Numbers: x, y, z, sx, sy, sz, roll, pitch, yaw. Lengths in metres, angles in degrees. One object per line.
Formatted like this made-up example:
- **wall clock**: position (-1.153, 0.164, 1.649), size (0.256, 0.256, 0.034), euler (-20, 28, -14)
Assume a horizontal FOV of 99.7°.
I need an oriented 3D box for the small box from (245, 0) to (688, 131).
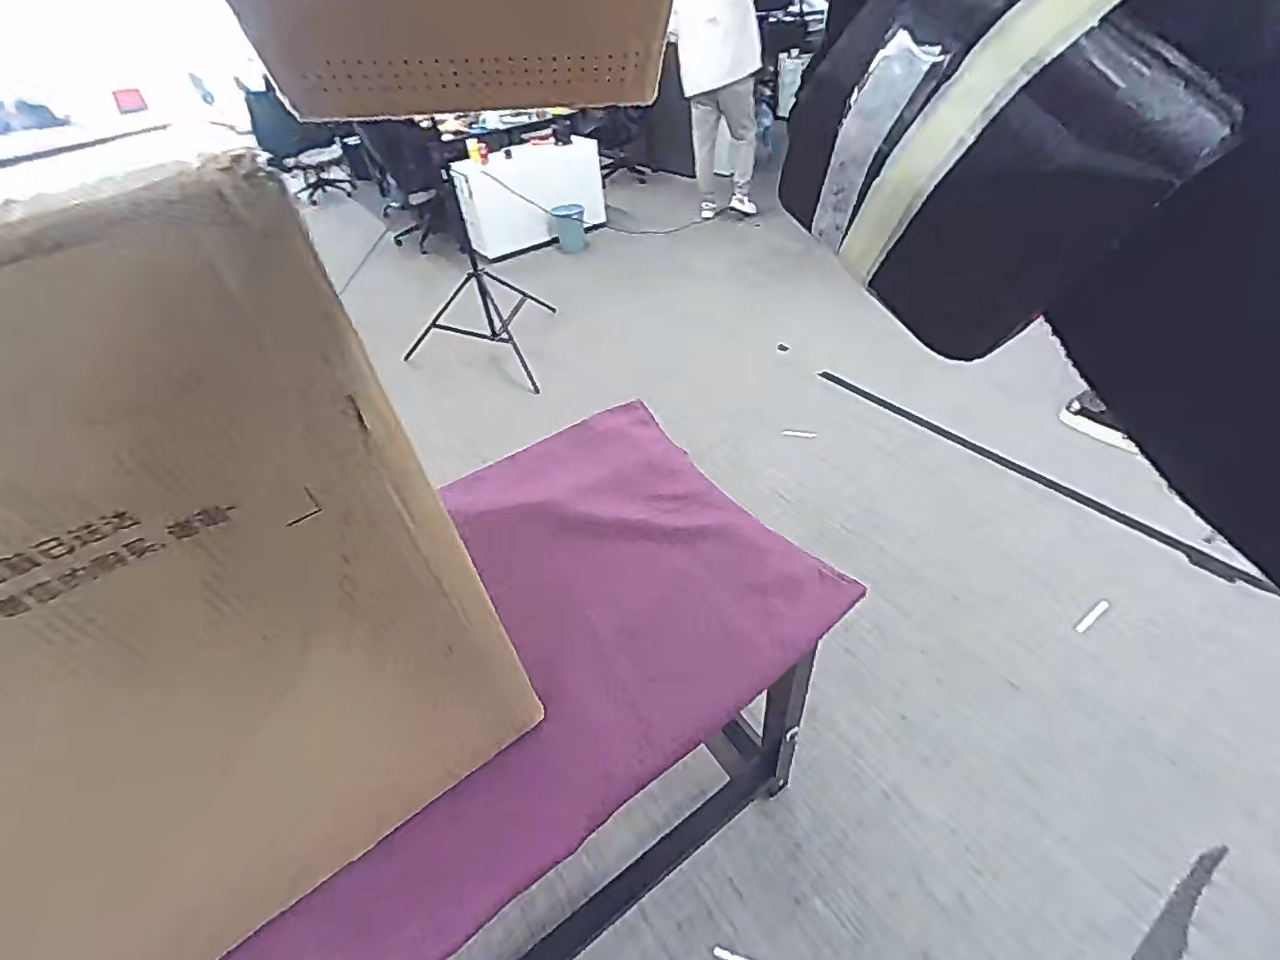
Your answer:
- **small box**: position (-0.069, -0.264, 0.199), size (0.179, 0.176, 0.168), euler (-8, 83, -7)
